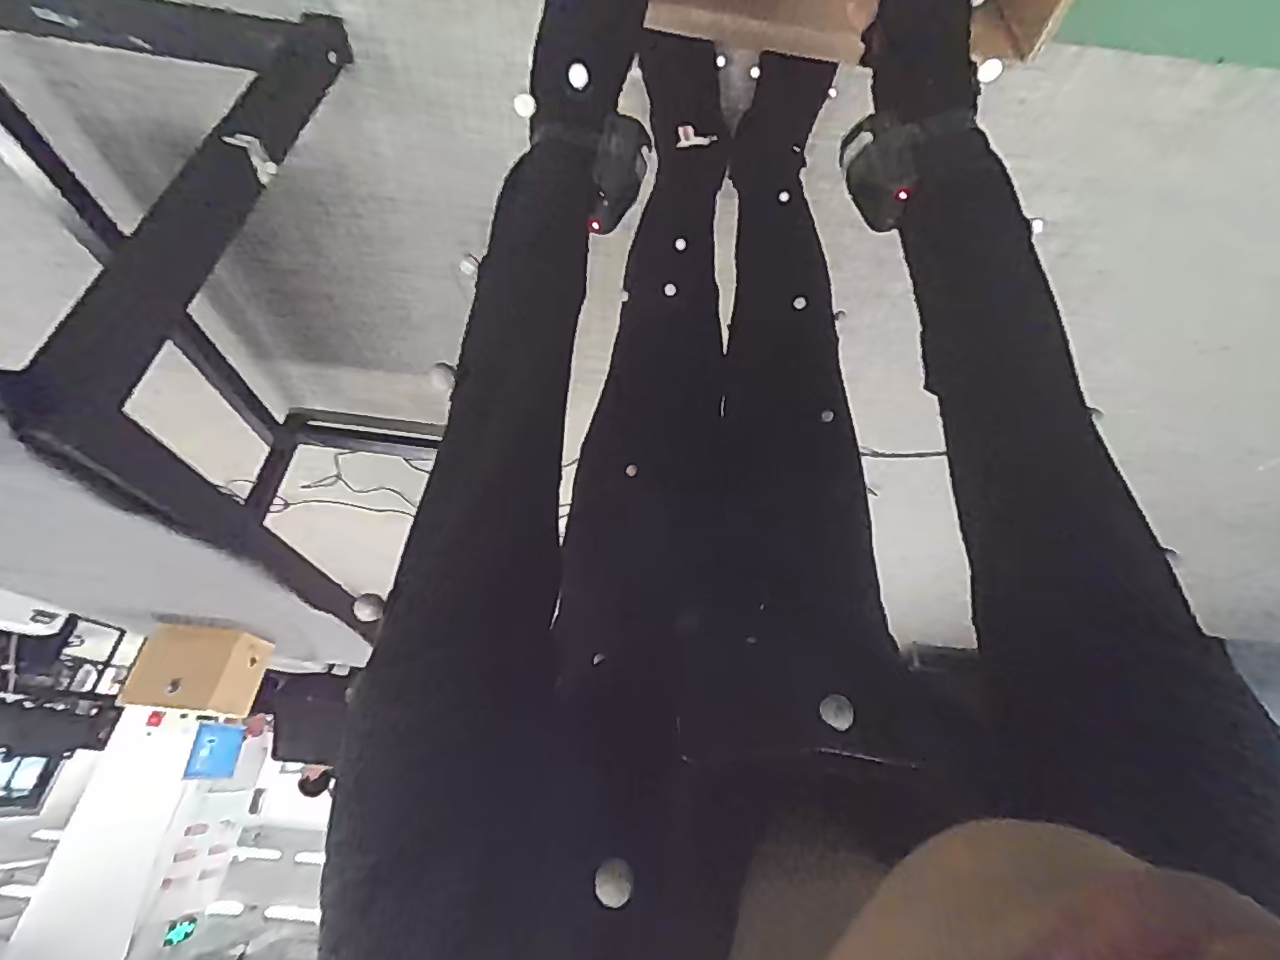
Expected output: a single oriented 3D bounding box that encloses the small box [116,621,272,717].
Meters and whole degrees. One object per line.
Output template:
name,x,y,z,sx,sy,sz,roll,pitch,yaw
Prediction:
small box,-0.958,0.413,1.182,0.179,0.176,0.168,7,152,-5
